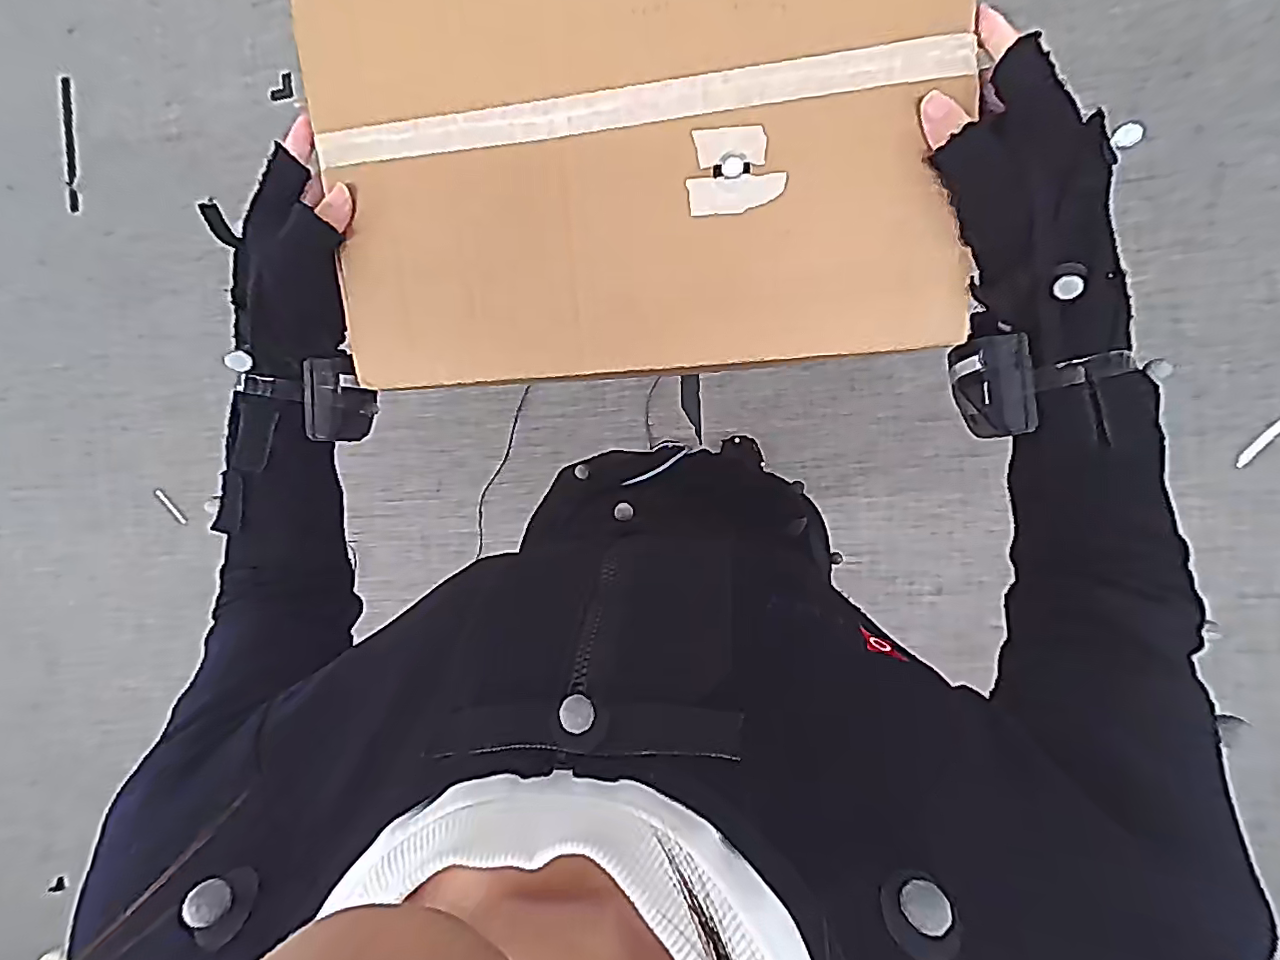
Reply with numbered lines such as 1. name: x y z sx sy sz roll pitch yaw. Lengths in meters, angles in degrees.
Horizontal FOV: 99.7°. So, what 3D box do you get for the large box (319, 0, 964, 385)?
1. large box: 0.009 -0.261 0.489 0.408 0.320 0.320 -3 101 7
